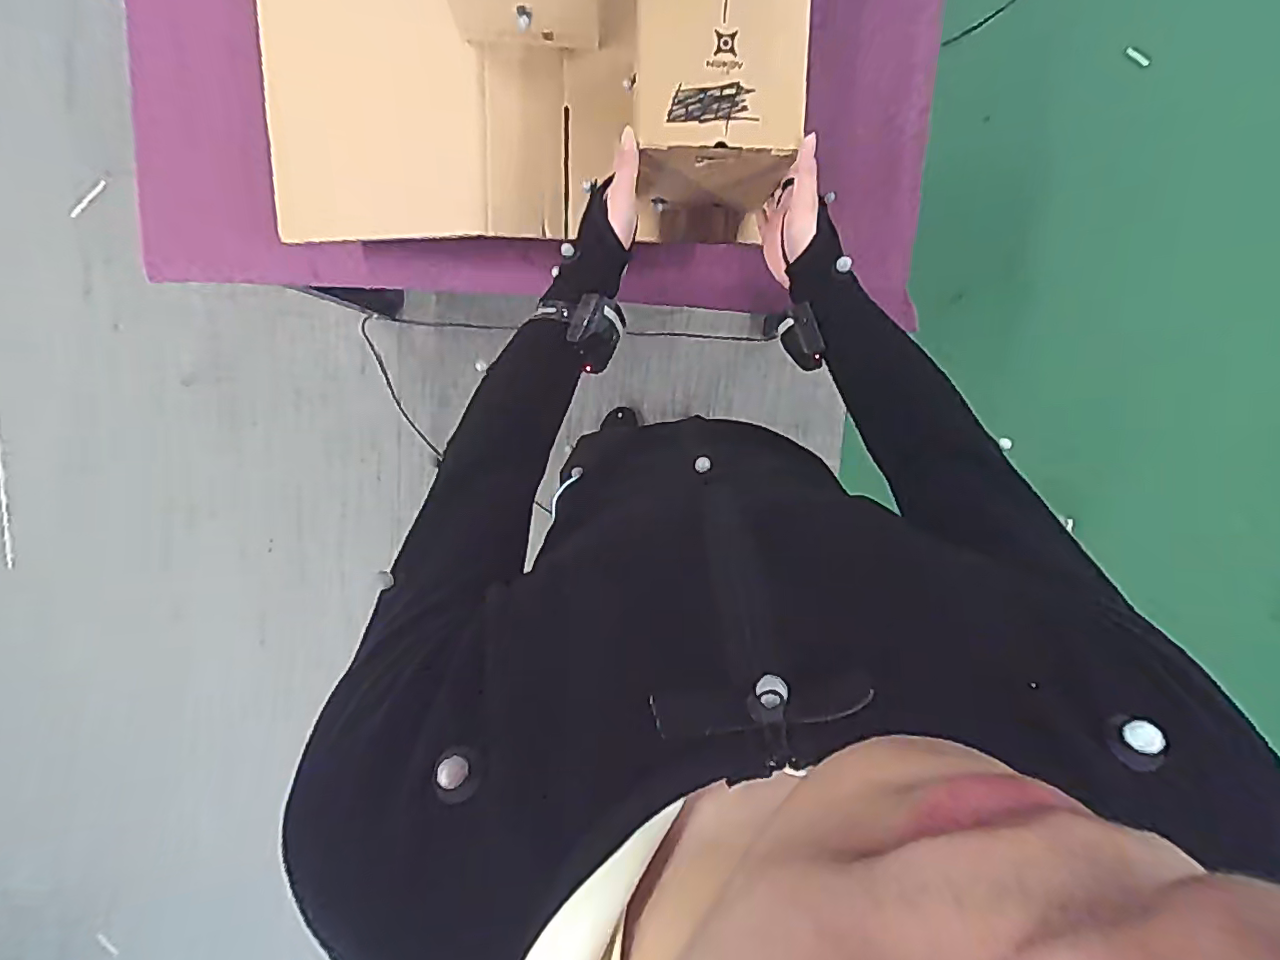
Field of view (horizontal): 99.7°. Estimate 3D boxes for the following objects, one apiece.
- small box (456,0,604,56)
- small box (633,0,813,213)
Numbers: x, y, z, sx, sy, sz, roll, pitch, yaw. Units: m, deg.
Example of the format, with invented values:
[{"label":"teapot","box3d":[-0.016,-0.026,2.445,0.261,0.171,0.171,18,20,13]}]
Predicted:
[{"label":"small box","box3d":[-0.119,-0.595,0.563,0.168,0.176,0.179,1,98,-4]},{"label":"small box","box3d":[0.079,-0.414,0.599,0.168,0.176,0.179,1,97,-3]}]
